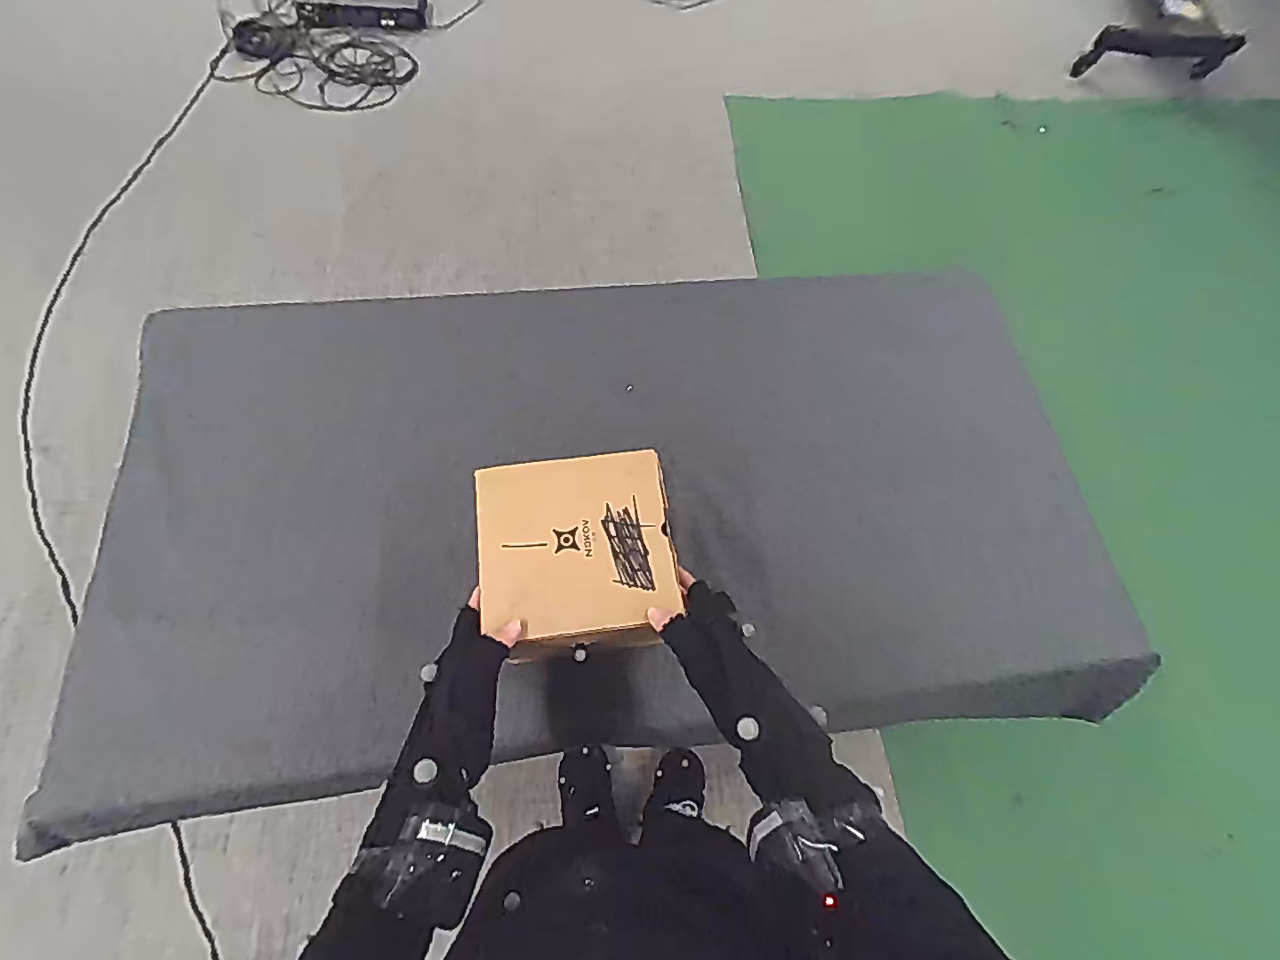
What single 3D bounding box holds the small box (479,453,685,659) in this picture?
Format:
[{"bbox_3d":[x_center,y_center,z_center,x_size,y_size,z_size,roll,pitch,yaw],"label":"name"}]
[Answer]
[{"bbox_3d":[-0.061,0.087,0.563,0.179,0.176,0.168,-6,67,-6],"label":"small box"}]
